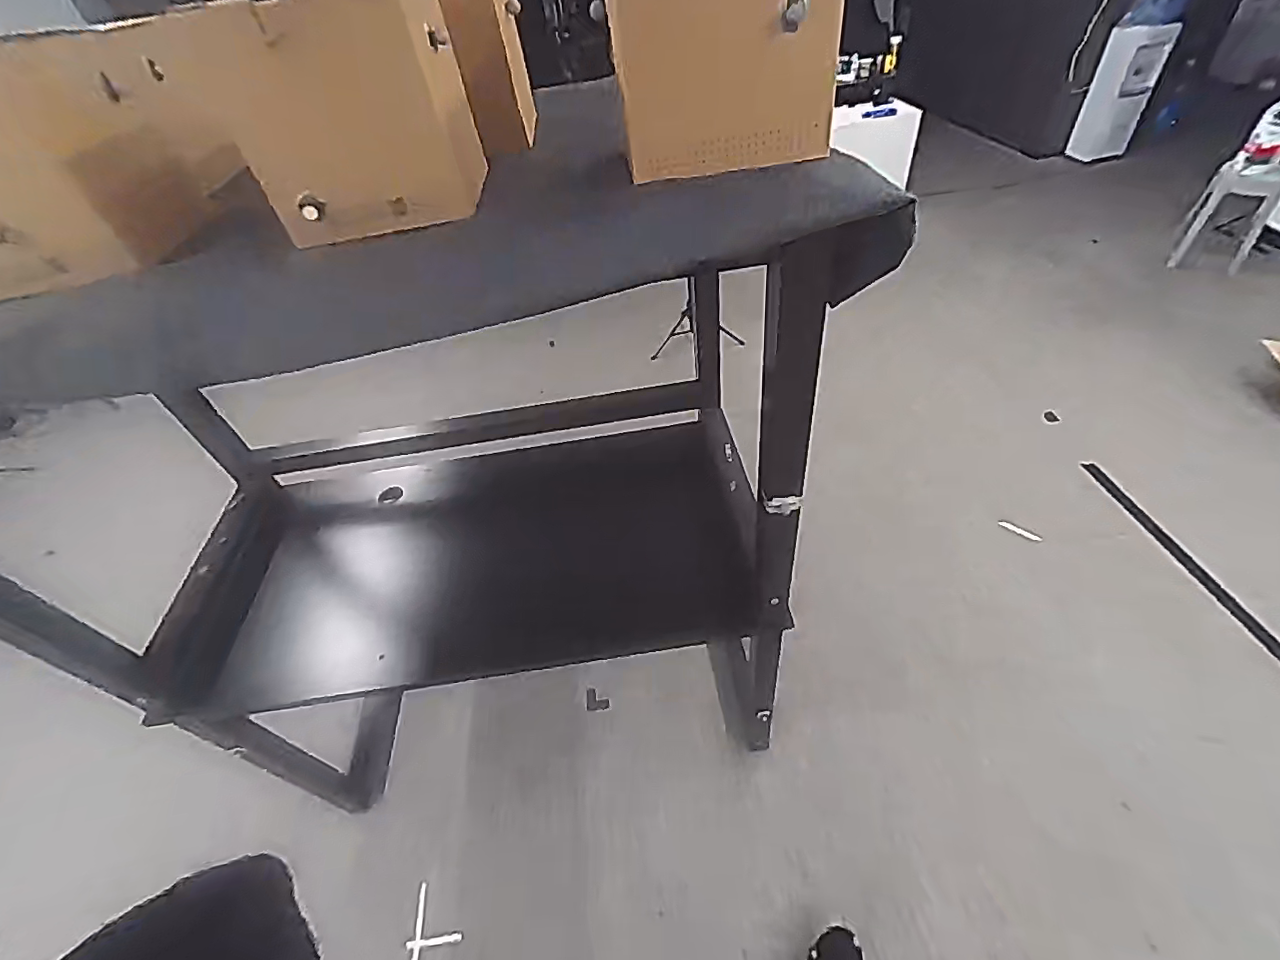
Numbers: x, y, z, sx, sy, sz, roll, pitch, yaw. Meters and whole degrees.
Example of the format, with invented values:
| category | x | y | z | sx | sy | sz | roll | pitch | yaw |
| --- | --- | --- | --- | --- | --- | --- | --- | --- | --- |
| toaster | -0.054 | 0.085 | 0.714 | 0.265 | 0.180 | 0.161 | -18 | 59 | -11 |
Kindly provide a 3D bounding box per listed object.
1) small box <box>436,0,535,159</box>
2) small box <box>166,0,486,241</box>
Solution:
| category | x | y | z | sx | sy | sz | roll | pitch | yaw |
| --- | --- | --- | --- | --- | --- | --- | --- | --- | --- |
| small box | -0.228 | -0.495 | 0.647 | 0.168 | 0.176 | 0.179 | -9 | 46 | 1 |
| small box | -0.248 | -0.332 | 0.488 | 0.168 | 0.176 | 0.179 | -11 | 44 | 0 |
